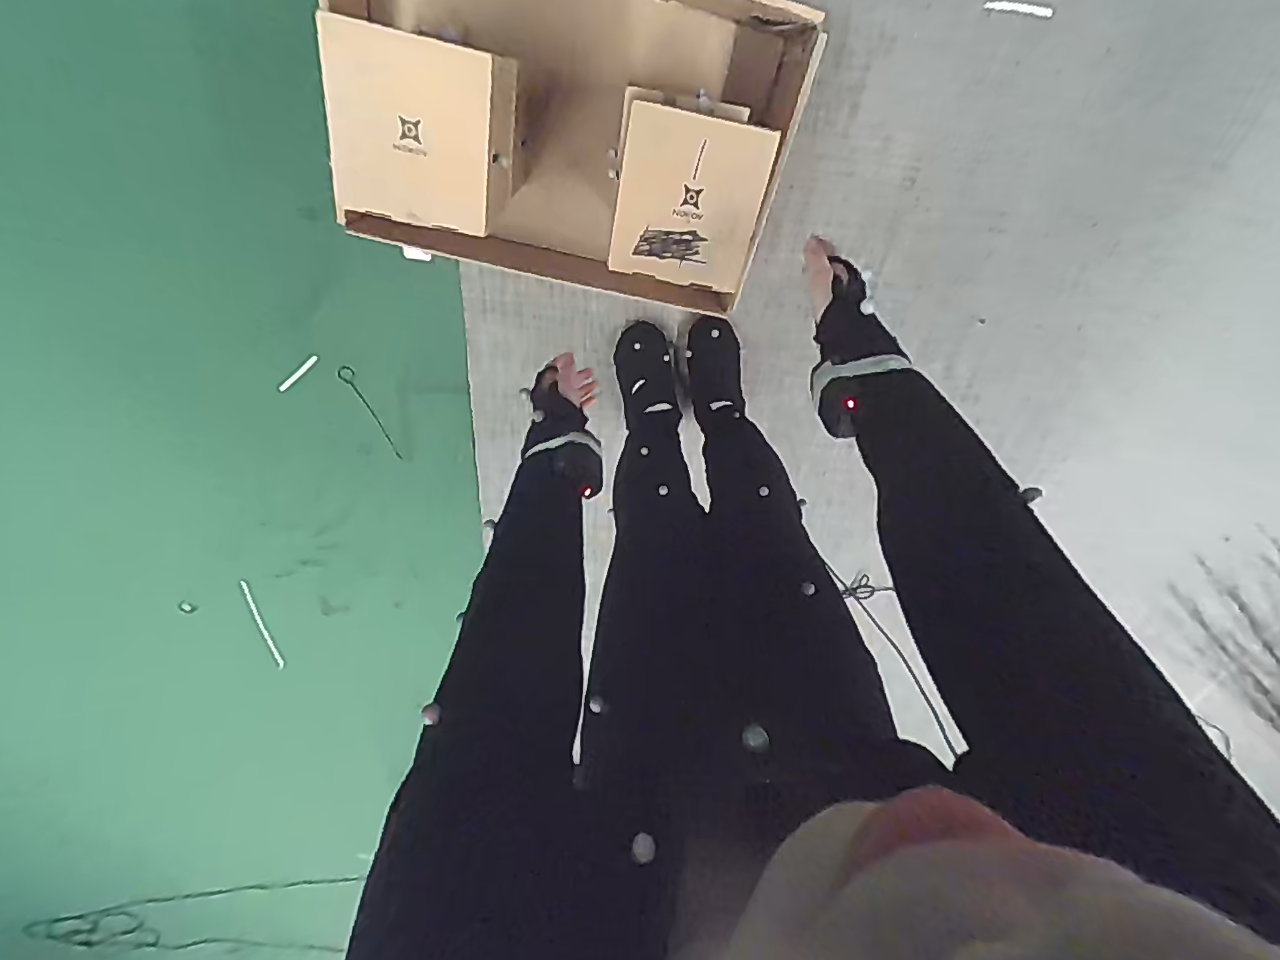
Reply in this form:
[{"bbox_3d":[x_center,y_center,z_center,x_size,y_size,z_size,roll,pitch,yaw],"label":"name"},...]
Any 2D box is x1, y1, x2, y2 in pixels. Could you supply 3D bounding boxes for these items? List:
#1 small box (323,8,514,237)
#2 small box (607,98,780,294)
[{"bbox_3d":[-0.245,-0.413,0.634,0.168,0.176,0.179,8,126,-10],"label":"small box"},{"bbox_3d":[0.054,-0.361,0.684,0.168,0.176,0.179,8,125,-8],"label":"small box"}]
